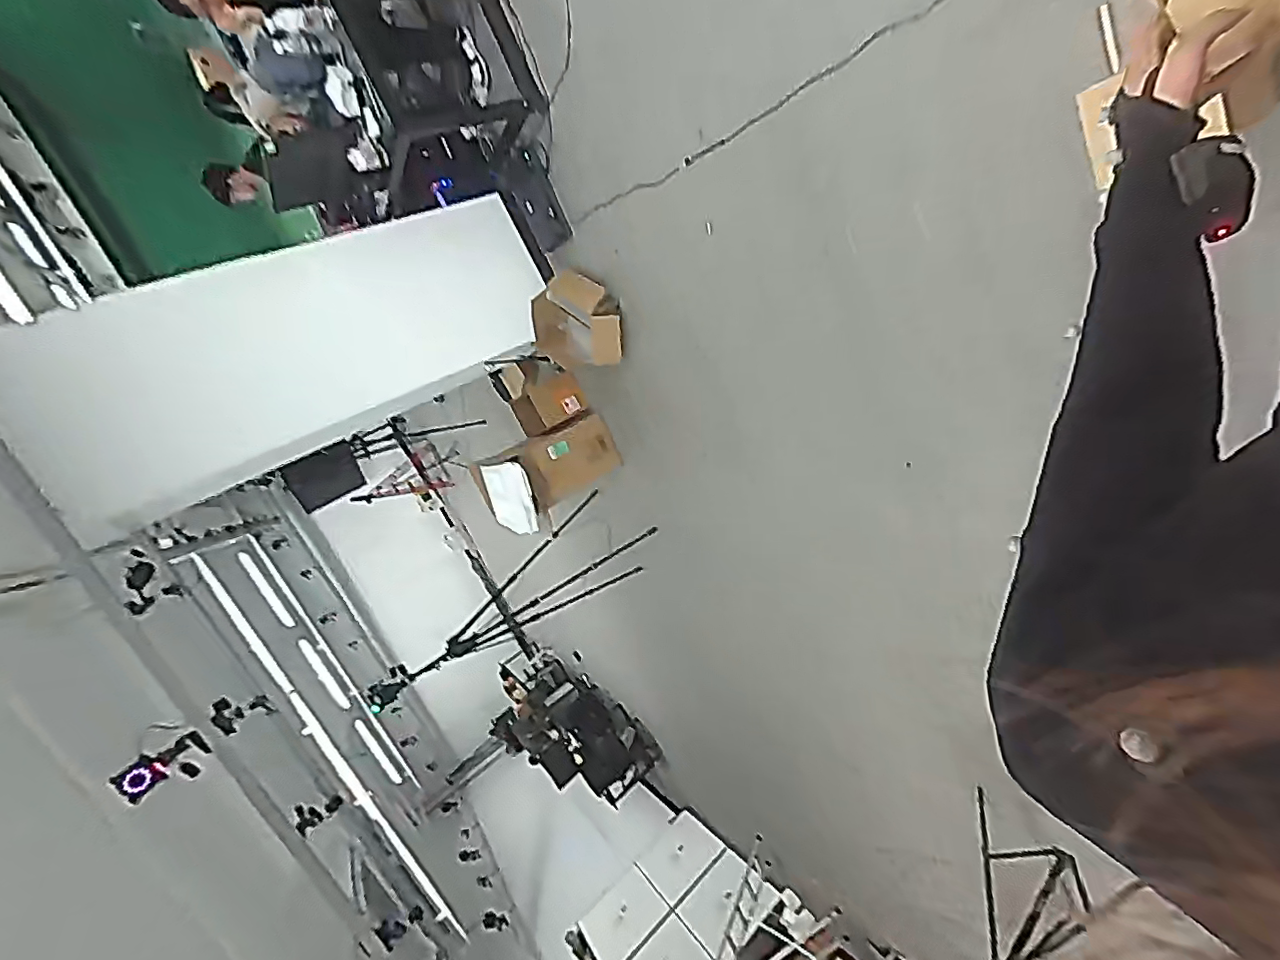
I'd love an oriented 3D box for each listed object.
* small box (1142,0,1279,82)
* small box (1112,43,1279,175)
[{"bbox_3d":[0.548,-0.478,0.445,0.168,0.176,0.179,59,151,-2],"label":"small box"},{"bbox_3d":[1.010,-0.698,0.980,0.168,0.176,0.179,-5,115,62],"label":"small box"}]
